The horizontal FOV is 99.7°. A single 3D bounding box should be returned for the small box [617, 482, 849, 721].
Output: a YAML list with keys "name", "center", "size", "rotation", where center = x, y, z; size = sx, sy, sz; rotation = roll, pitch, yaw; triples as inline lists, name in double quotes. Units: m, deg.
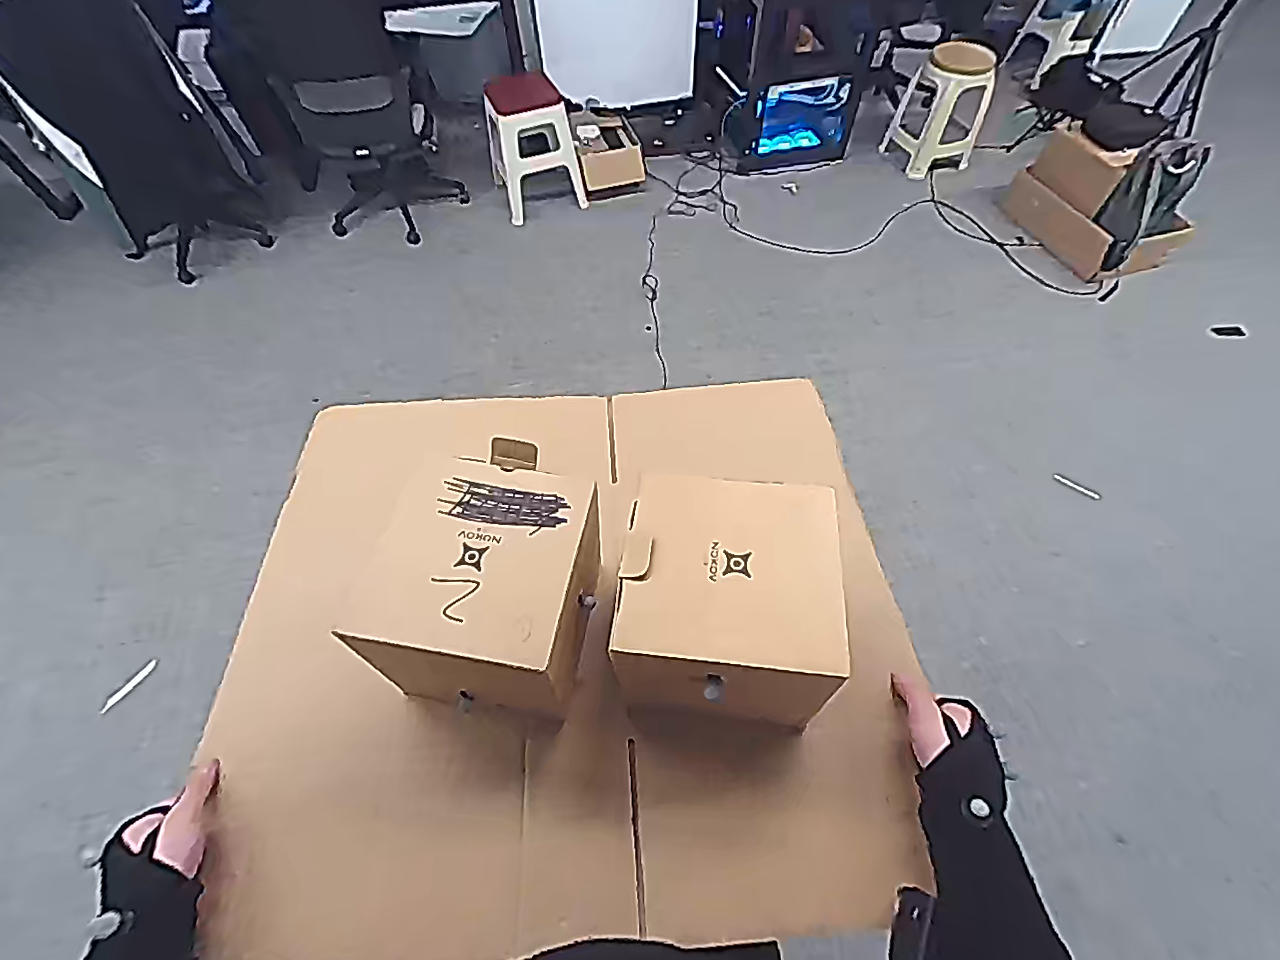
- name: "small box"
  center: [0.083, 0.121, 0.514]
  size: [0.179, 0.176, 0.168]
  rotation: [3, 55, 8]
